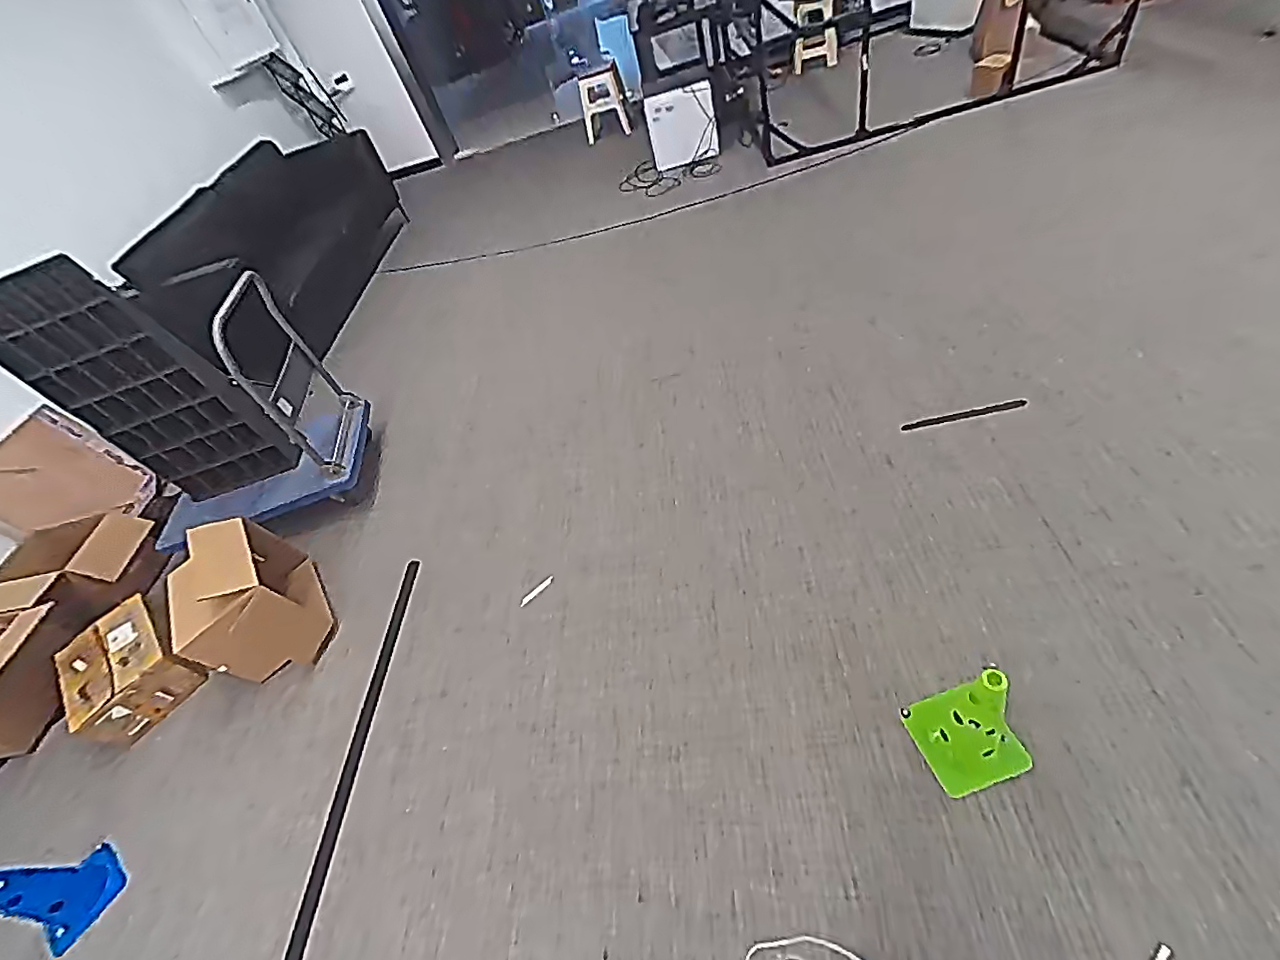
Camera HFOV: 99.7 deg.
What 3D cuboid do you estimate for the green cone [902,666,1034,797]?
[{"bbox_3d":[0.688,0.471,1.092,0.202,0.368,0.200,-22,47,-1],"label":"green cone"}]
